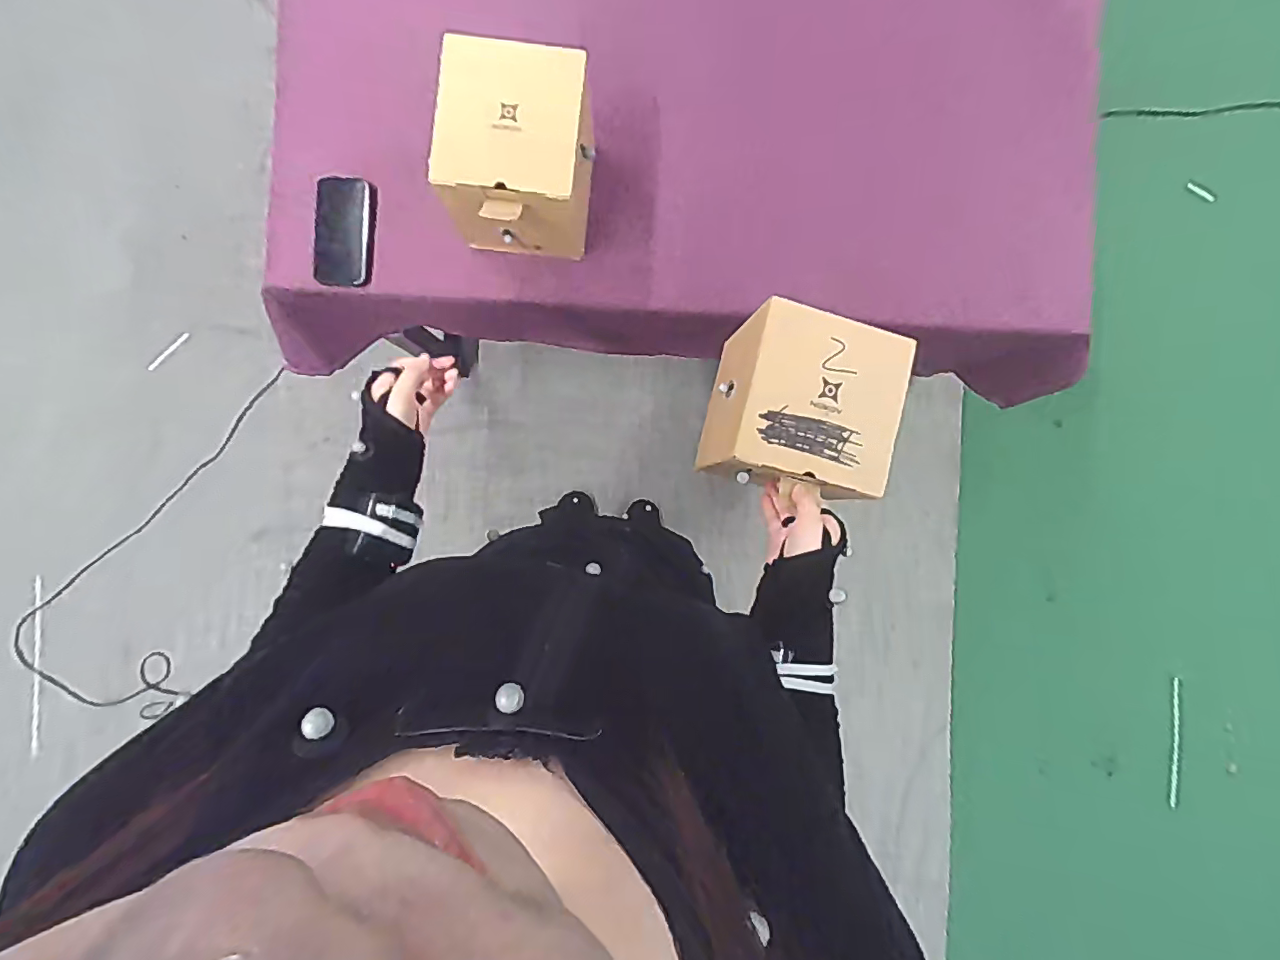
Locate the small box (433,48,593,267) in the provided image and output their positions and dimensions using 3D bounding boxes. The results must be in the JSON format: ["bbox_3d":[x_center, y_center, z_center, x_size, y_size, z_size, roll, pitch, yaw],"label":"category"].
[{"bbox_3d":[-0.154,-0.408,0.713,0.168,0.176,0.179,7,89,-2],"label":"small box"}]
